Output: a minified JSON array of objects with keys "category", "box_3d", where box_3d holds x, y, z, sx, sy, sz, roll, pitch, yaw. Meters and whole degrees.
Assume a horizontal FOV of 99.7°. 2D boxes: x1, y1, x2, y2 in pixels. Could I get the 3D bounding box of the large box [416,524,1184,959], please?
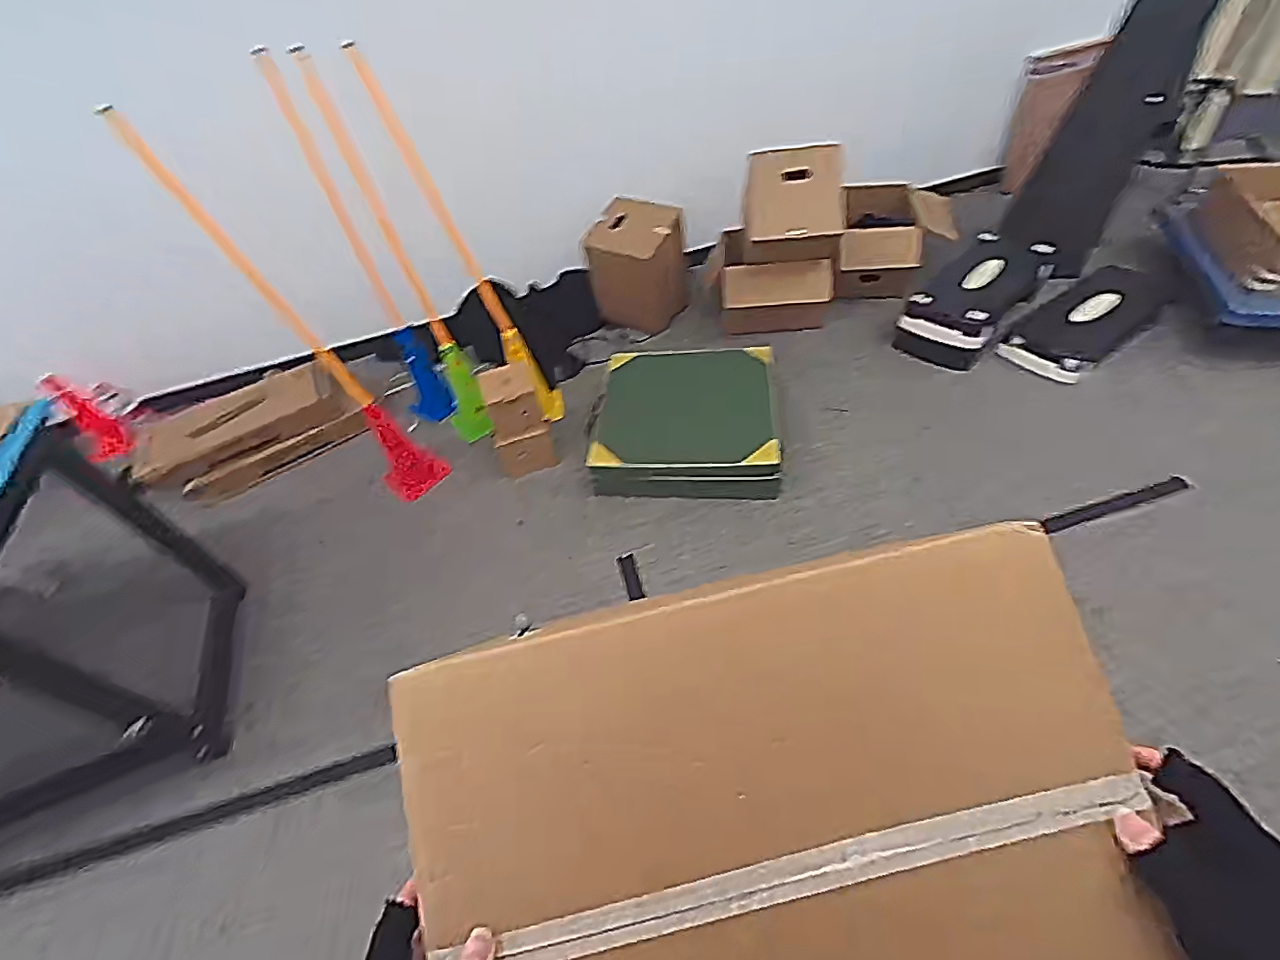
[{"category":"large box","box_3d":[0.089,0.248,0.459,0.408,0.320,0.320,-13,80,-1]}]
